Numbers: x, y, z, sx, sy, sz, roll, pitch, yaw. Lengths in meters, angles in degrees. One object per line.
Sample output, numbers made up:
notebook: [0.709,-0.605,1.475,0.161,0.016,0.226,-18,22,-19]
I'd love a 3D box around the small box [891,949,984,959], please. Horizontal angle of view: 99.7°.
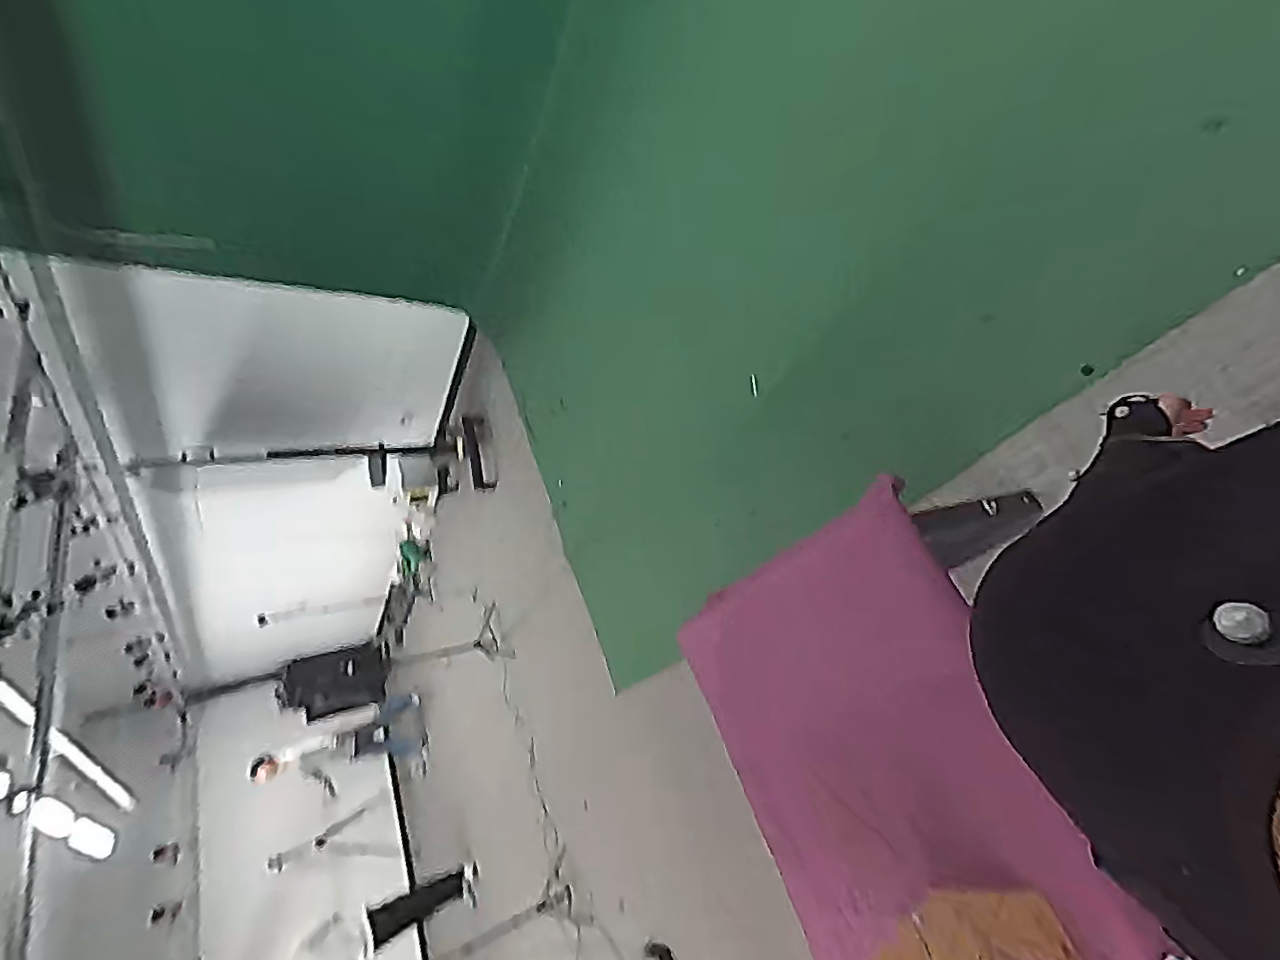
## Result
small box: [0.351,0.675,0.609,0.179,0.176,0.168,-52,54,46]
